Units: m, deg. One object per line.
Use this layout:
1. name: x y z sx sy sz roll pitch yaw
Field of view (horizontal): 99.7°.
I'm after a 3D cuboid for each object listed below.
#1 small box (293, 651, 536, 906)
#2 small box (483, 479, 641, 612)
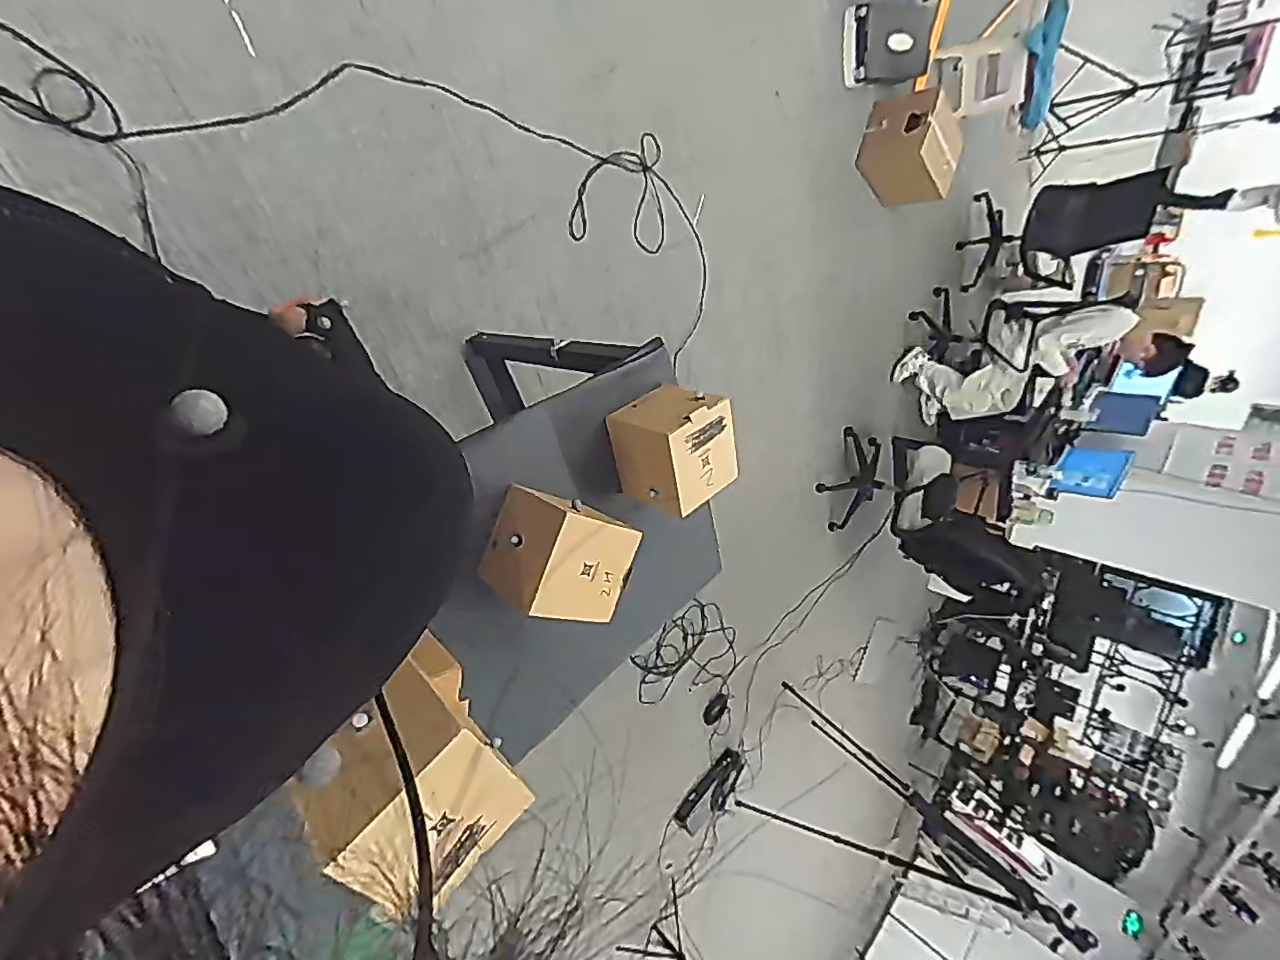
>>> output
1. small box: -0.259 0.335 0.632 0.168 0.176 0.179 -44 130 -27
2. small box: -0.135 0.106 0.912 0.179 0.176 0.168 21 90 -47
